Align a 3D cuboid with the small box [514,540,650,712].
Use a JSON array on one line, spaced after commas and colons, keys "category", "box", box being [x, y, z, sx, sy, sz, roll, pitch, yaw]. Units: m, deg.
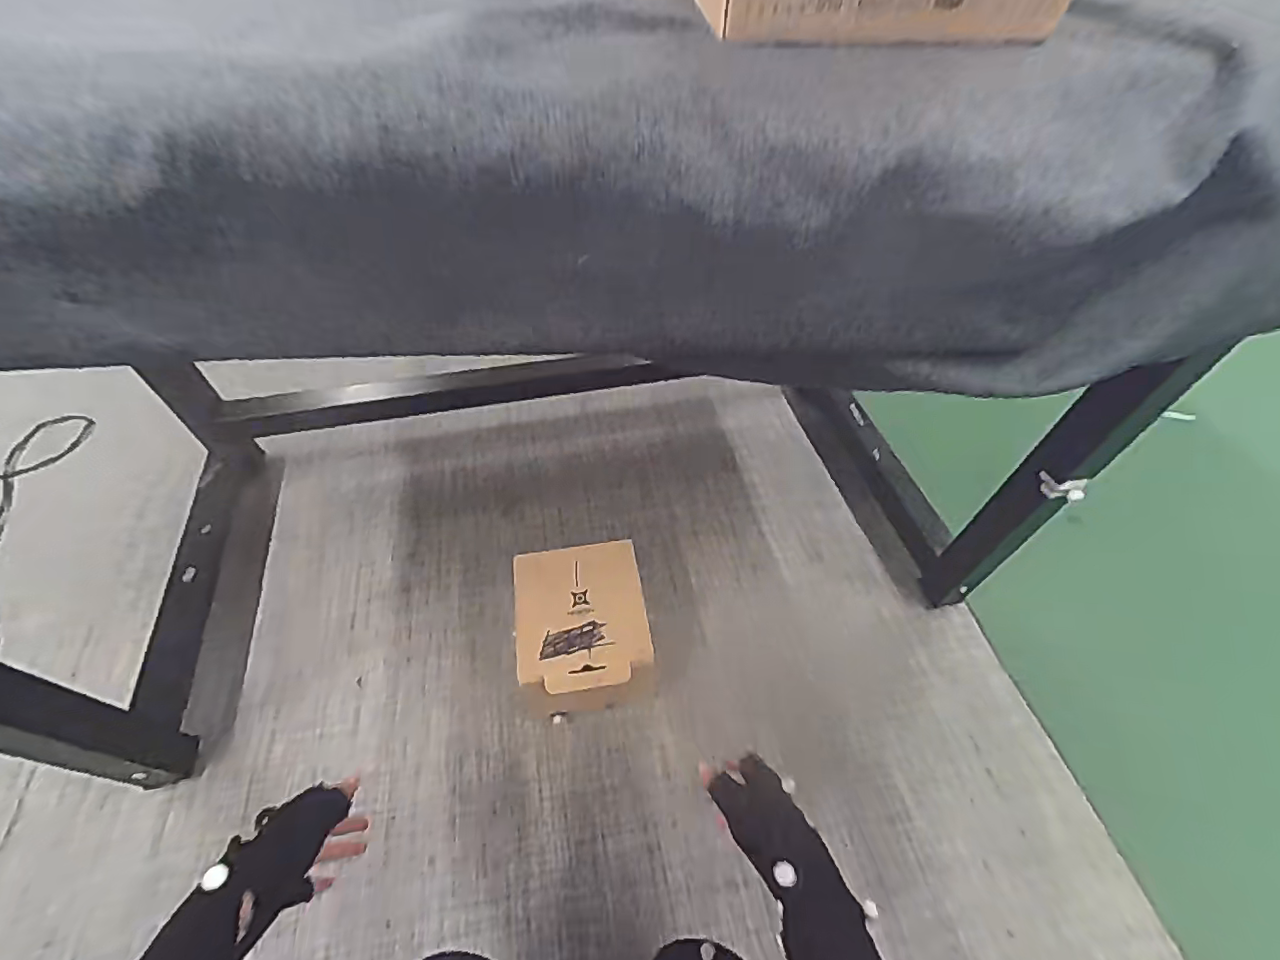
[{"category": "small box", "box": [-0.078, 0.210, 0.755, 0.168, 0.176, 0.179, -7, 51, -6]}]
